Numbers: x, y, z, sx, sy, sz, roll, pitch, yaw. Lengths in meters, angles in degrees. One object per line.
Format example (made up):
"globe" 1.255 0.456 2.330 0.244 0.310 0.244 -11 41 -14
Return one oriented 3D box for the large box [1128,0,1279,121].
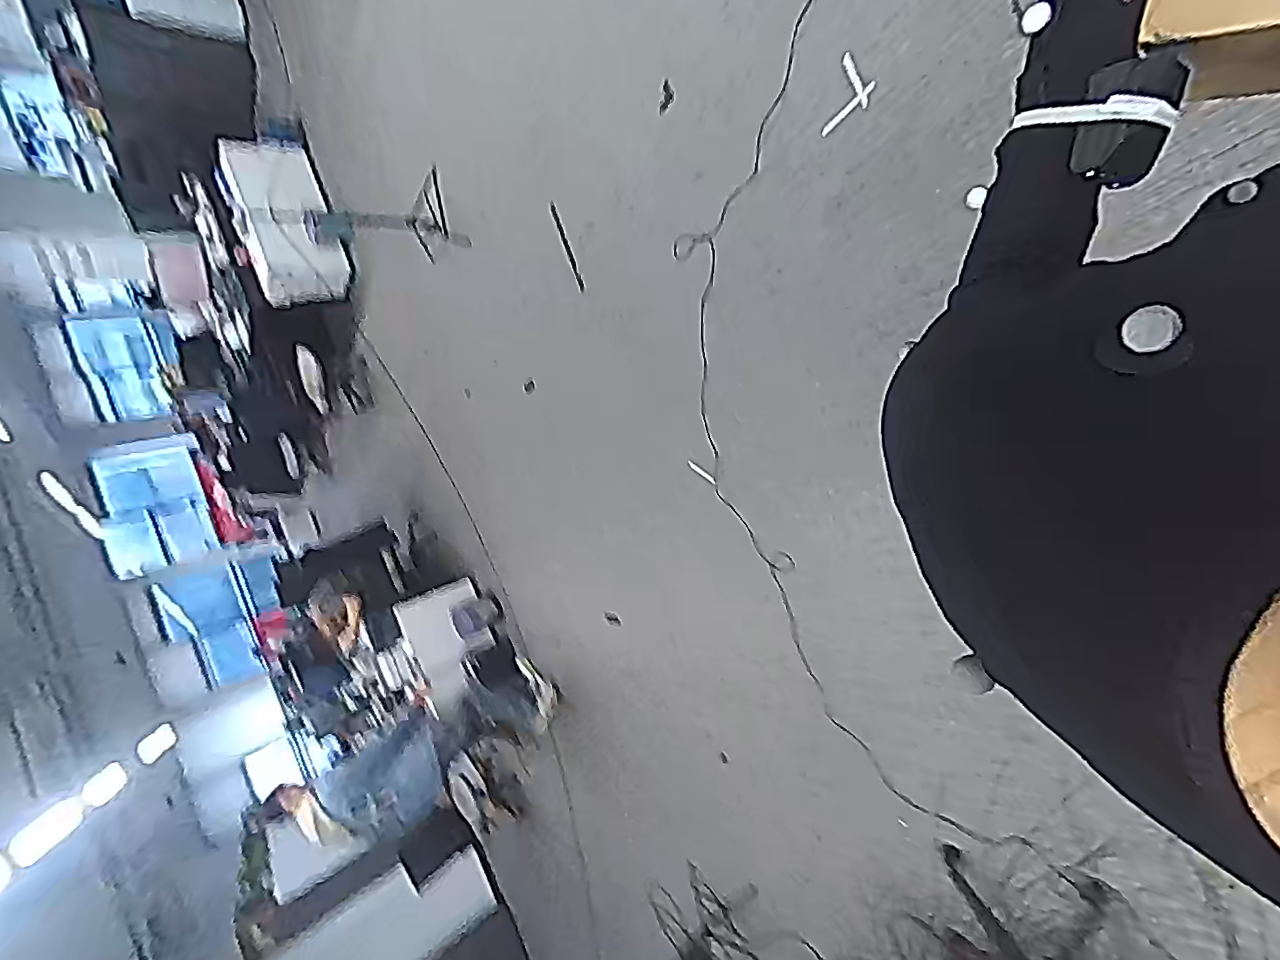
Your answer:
"large box" 0.558 -0.404 0.265 0.408 0.320 0.320 21 124 40
